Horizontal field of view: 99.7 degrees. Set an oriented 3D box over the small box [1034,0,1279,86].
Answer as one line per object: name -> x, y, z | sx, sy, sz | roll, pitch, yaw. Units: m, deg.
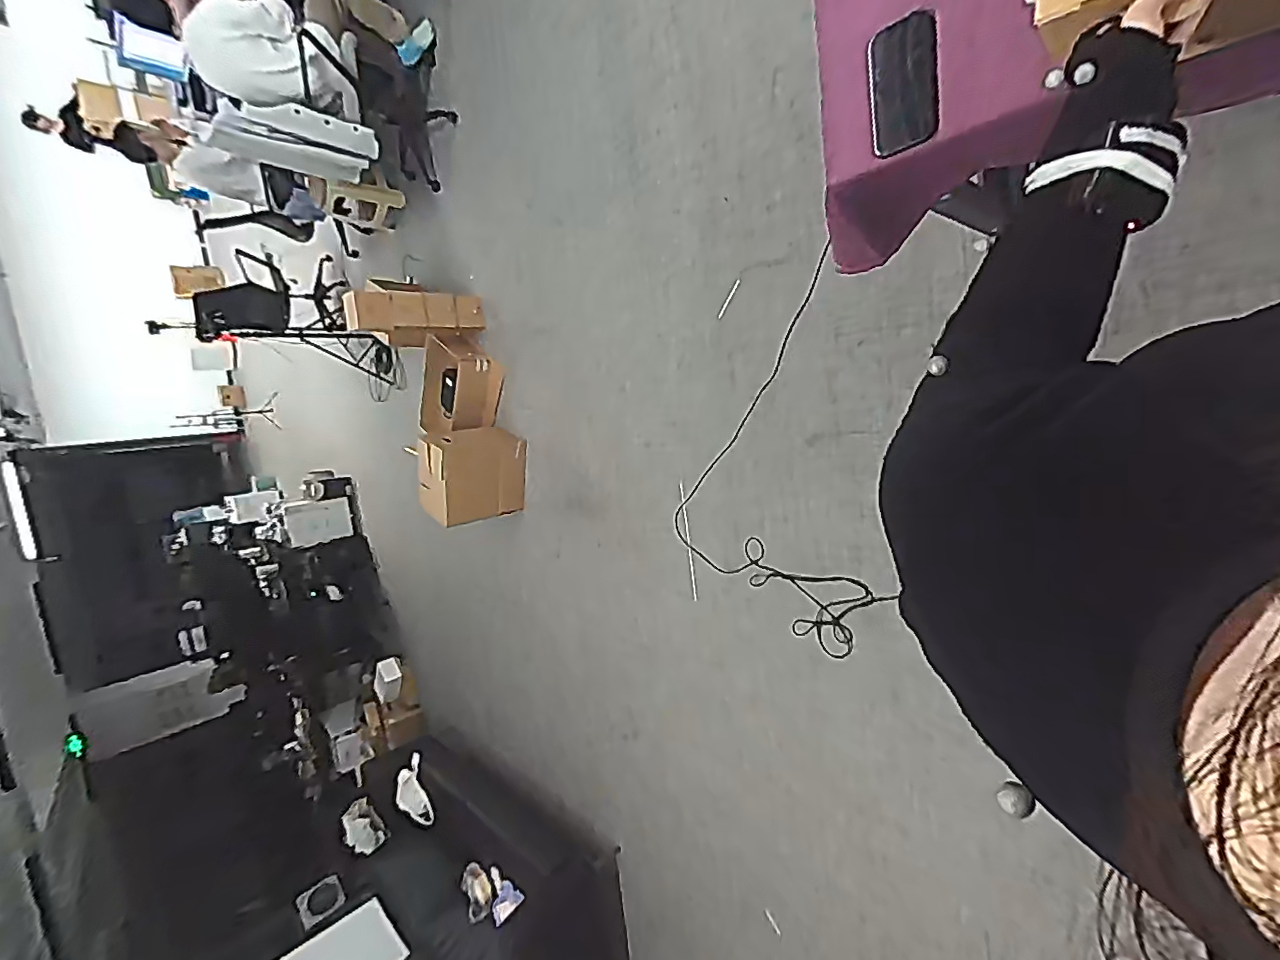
small box -> 0.462, -0.492, 0.465 | 0.168, 0.176, 0.179 | 8, 103, 45
